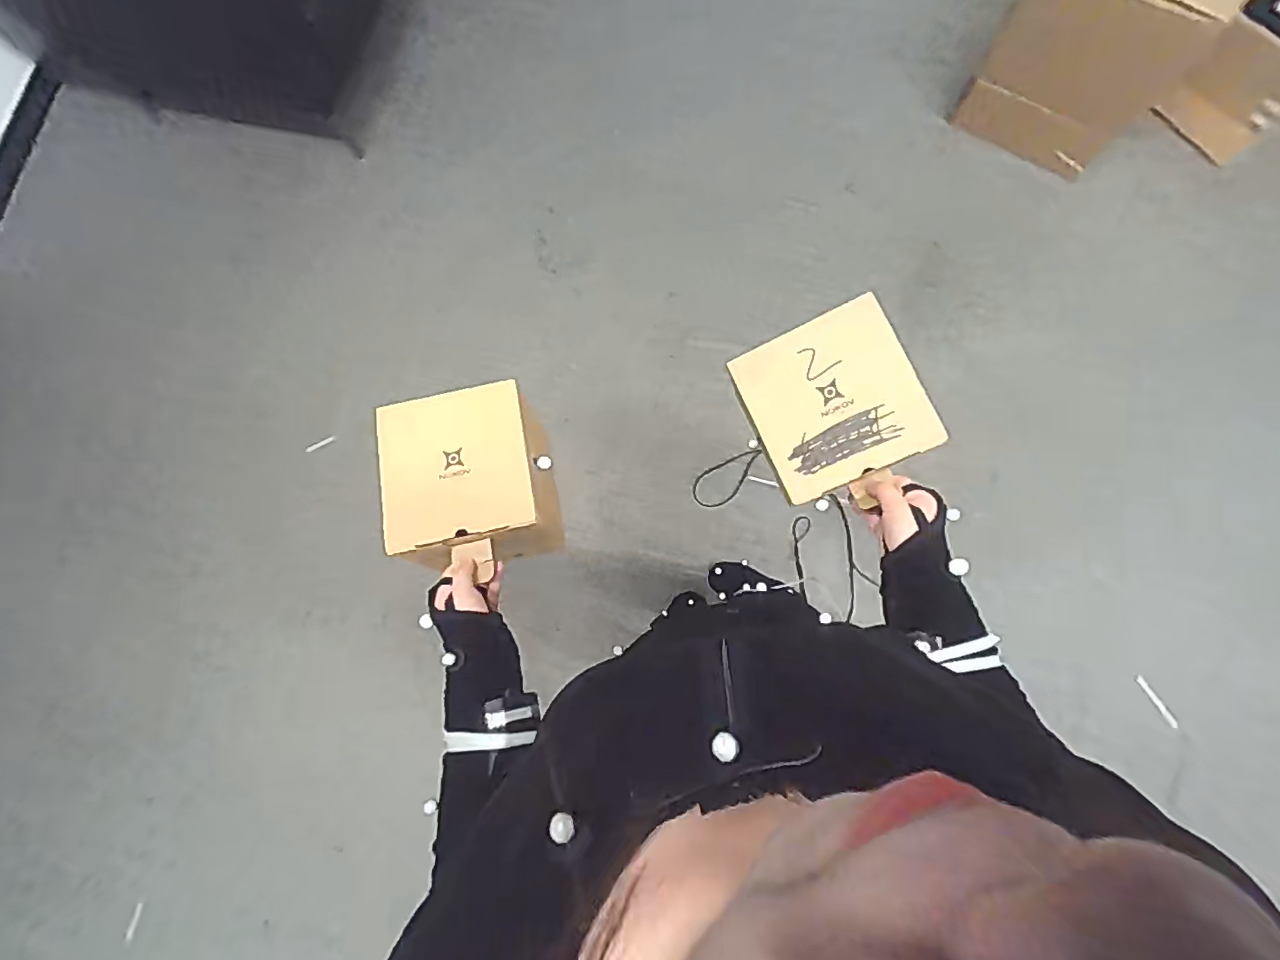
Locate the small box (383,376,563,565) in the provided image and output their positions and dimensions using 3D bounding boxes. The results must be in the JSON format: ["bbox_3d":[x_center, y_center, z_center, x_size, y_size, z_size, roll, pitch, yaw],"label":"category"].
[{"bbox_3d":[-0.197,-0.003,0.672,0.168,0.176,0.179,-11,74,-1],"label":"small box"}]
